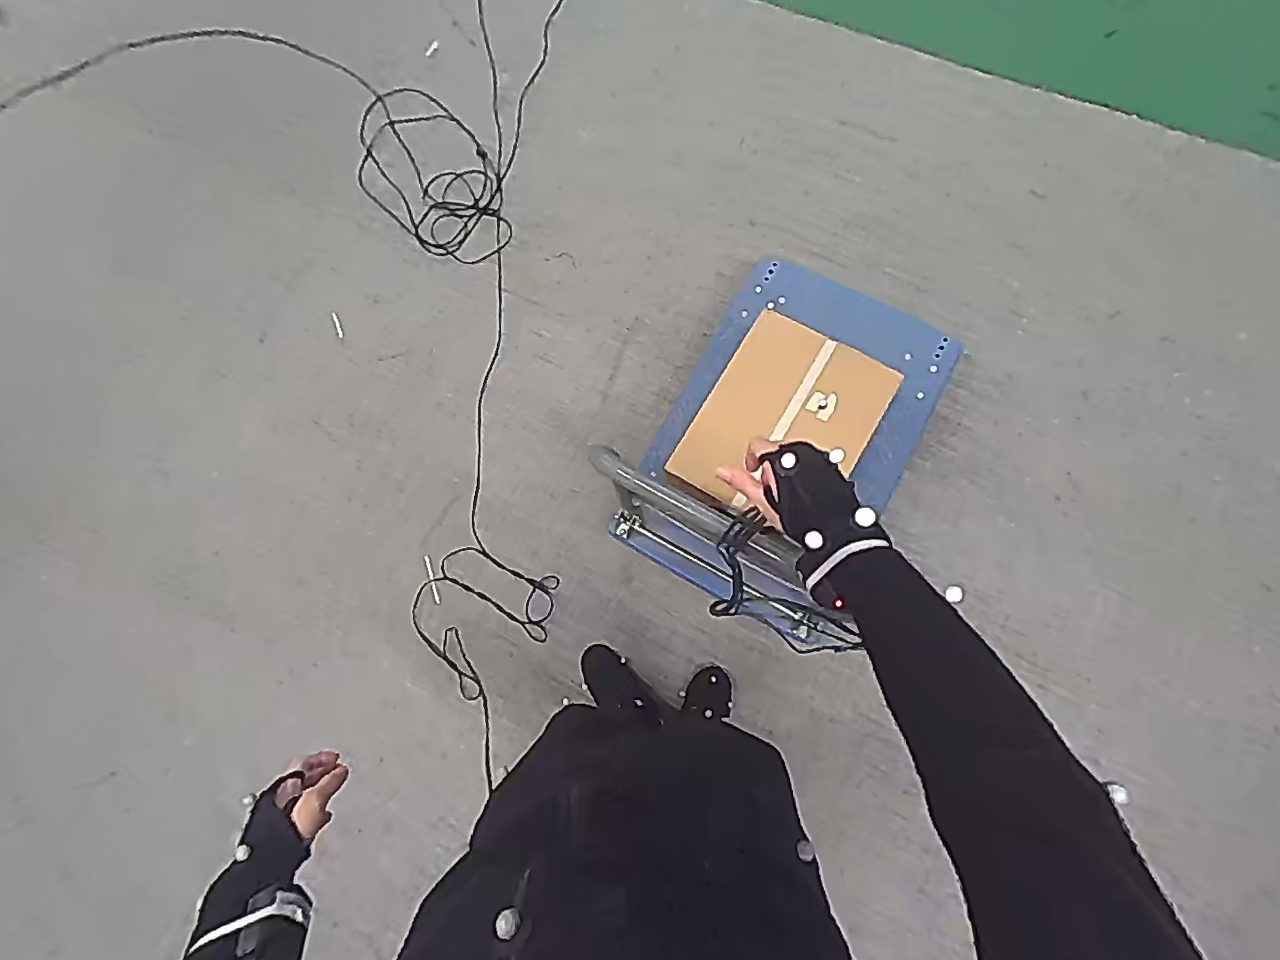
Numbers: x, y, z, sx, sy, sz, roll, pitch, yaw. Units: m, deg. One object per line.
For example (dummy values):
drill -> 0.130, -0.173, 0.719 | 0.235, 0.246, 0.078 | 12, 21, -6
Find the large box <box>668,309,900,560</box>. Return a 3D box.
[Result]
large box -> 0.292, -0.079, 1.196 | 0.320, 0.320, 0.408 | 31, 81, 10
